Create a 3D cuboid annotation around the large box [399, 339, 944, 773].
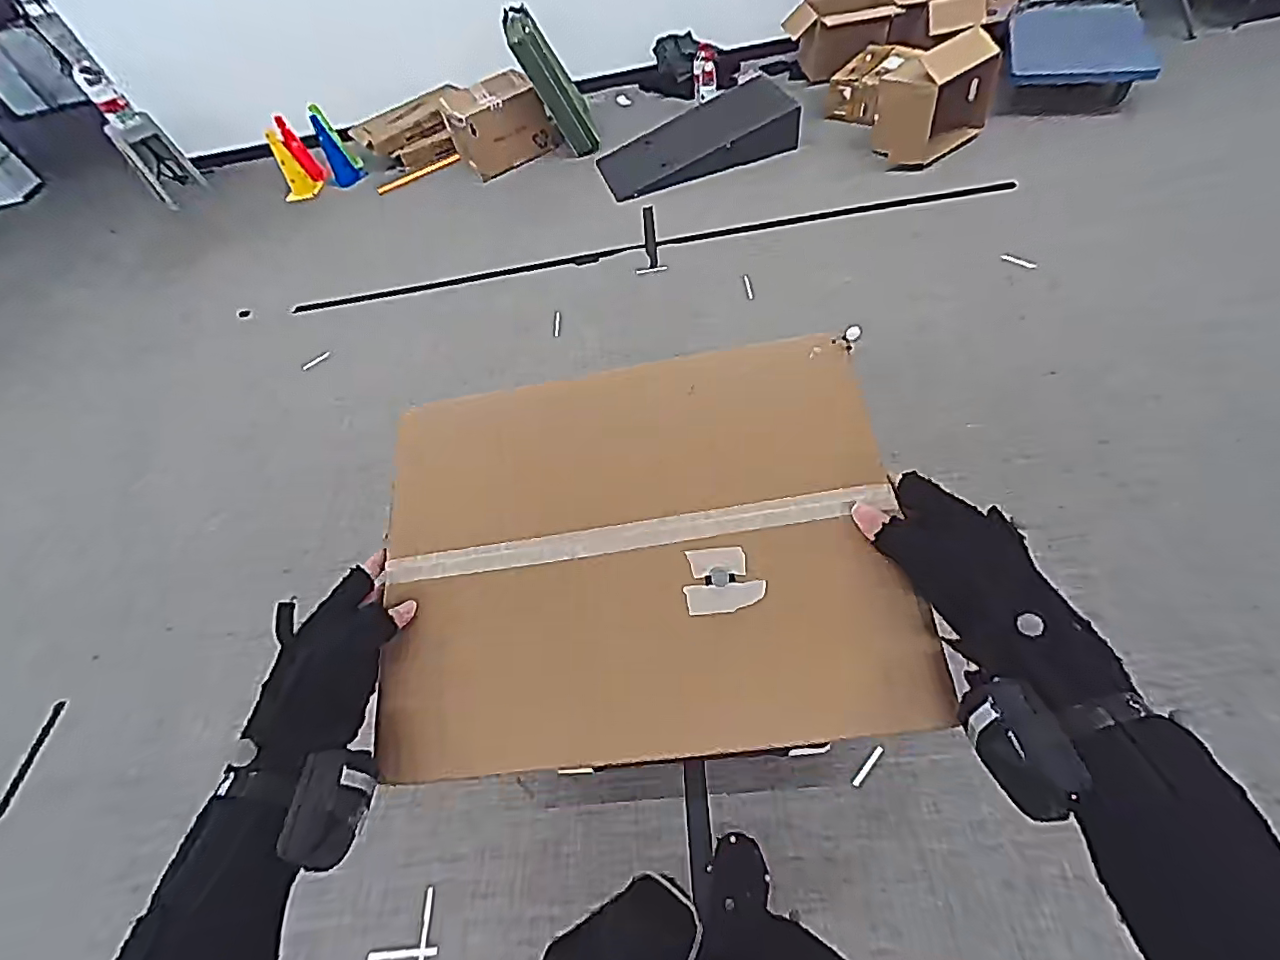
[{"bbox_3d":[0.018,0.101,0.577,0.408,0.320,0.320,-9,68,6],"label":"large box"}]
